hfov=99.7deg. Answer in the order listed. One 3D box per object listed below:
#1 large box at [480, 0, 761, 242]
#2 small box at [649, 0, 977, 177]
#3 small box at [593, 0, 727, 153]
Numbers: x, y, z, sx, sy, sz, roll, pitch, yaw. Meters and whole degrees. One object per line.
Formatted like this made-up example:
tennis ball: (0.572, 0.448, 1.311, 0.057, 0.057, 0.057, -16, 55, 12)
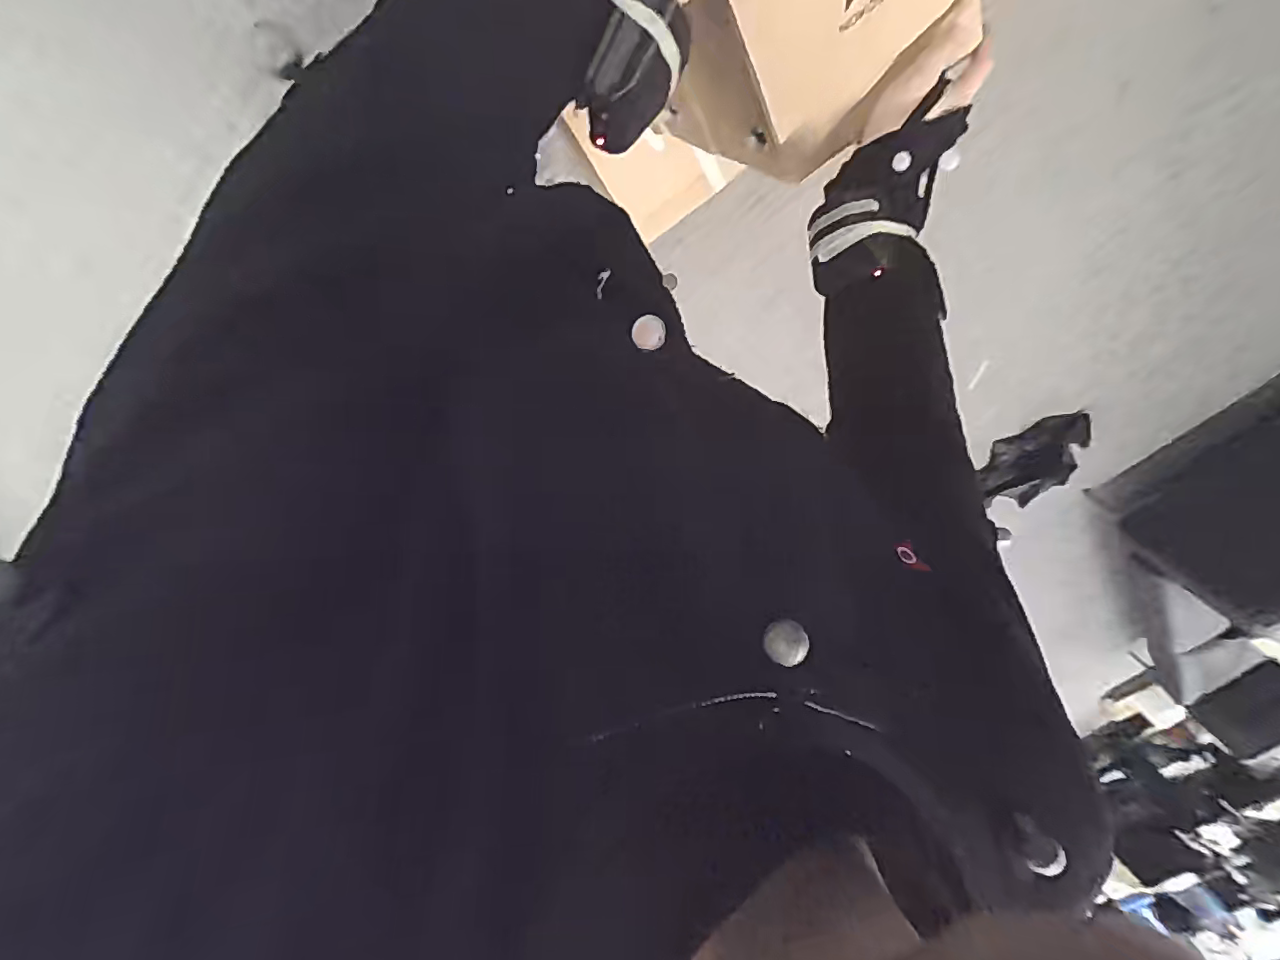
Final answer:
large box: (-0.008, -0.688, 0.880, 0.320, 0.320, 0.408, -33, 130, 12)
small box: (0.119, -0.378, 0.421, 0.168, 0.176, 0.179, -35, 131, 10)
small box: (0.071, -0.474, 0.543, 0.168, 0.176, 0.179, -37, 128, 12)
